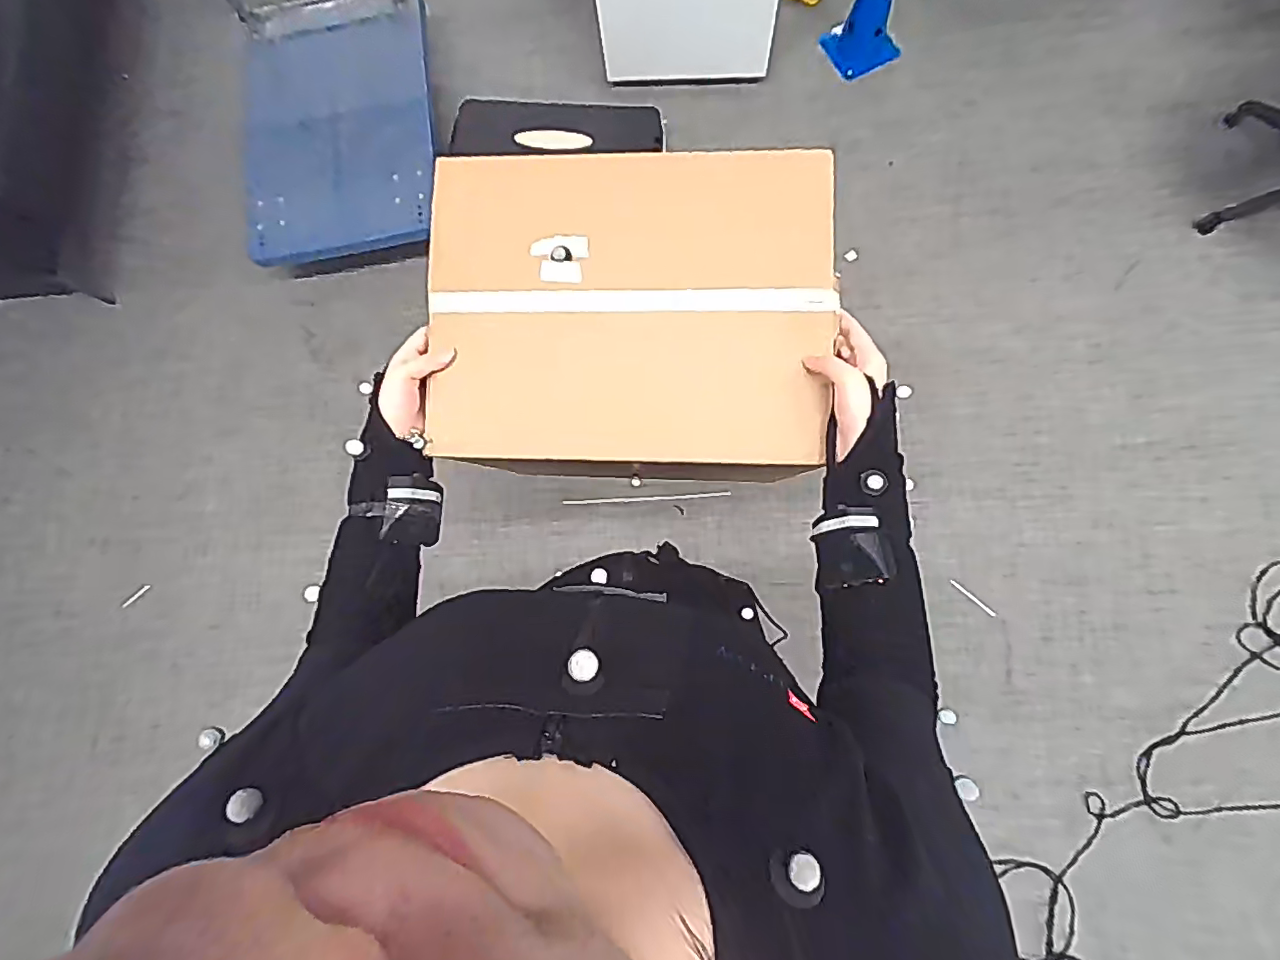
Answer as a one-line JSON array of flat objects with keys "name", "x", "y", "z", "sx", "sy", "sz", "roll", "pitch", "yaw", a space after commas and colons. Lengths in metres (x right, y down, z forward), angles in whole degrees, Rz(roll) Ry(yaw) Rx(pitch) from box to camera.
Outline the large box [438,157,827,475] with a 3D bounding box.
[{"name": "large box", "x": 0.003, "y": -0.165, "z": 0.701, "sx": 0.408, "sy": 0.320, "sz": 0.320, "roll": 1, "pitch": 86, "yaw": 6}]
